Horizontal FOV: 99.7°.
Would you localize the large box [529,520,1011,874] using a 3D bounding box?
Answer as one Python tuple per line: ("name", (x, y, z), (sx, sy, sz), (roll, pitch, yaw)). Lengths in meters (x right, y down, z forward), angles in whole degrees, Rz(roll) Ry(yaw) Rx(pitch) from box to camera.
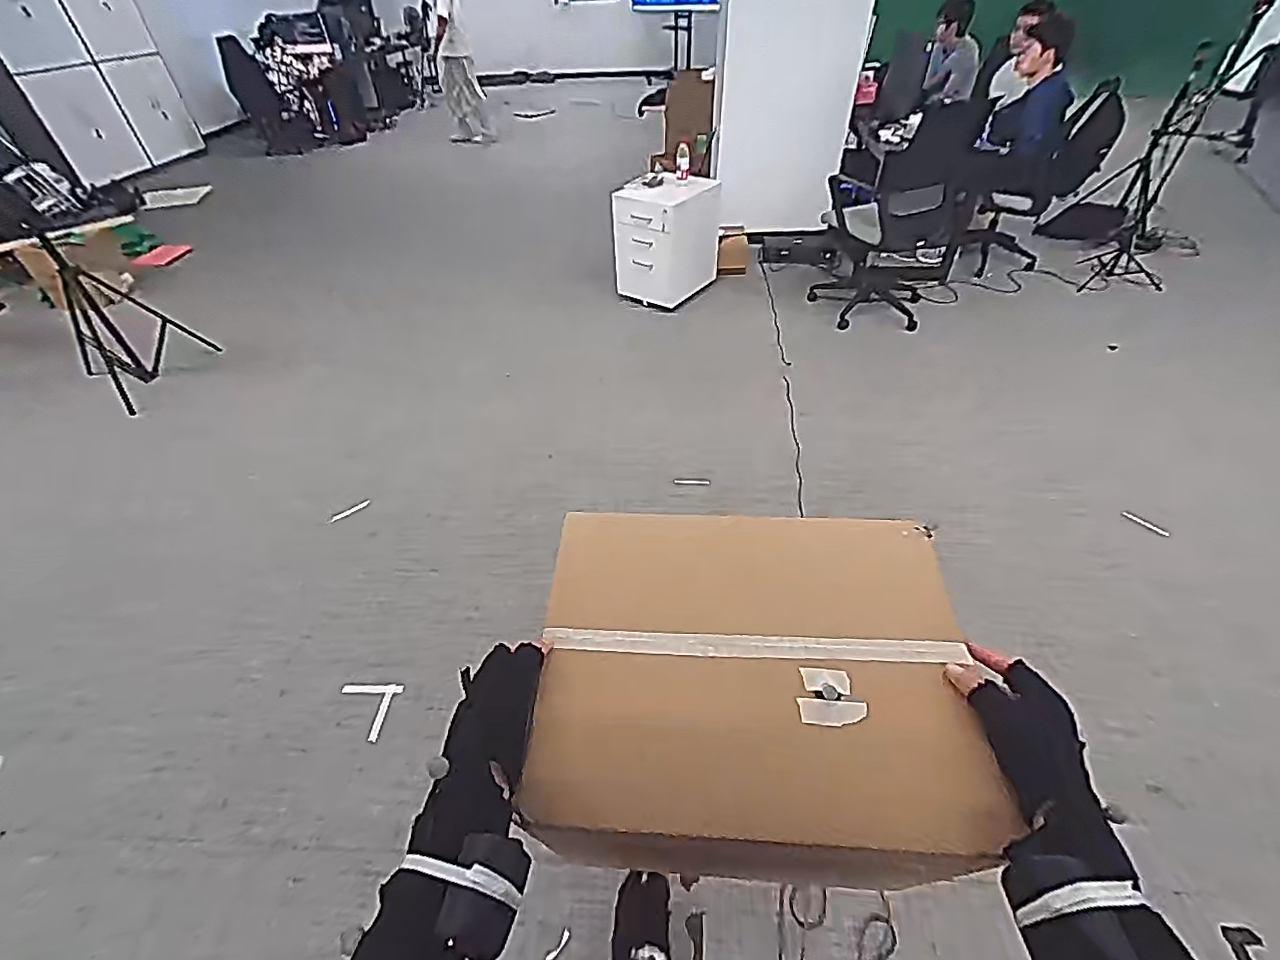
("large box", (0.114, 0.264, 0.652), (0.408, 0.320, 0.320), (1, 51, 4))
